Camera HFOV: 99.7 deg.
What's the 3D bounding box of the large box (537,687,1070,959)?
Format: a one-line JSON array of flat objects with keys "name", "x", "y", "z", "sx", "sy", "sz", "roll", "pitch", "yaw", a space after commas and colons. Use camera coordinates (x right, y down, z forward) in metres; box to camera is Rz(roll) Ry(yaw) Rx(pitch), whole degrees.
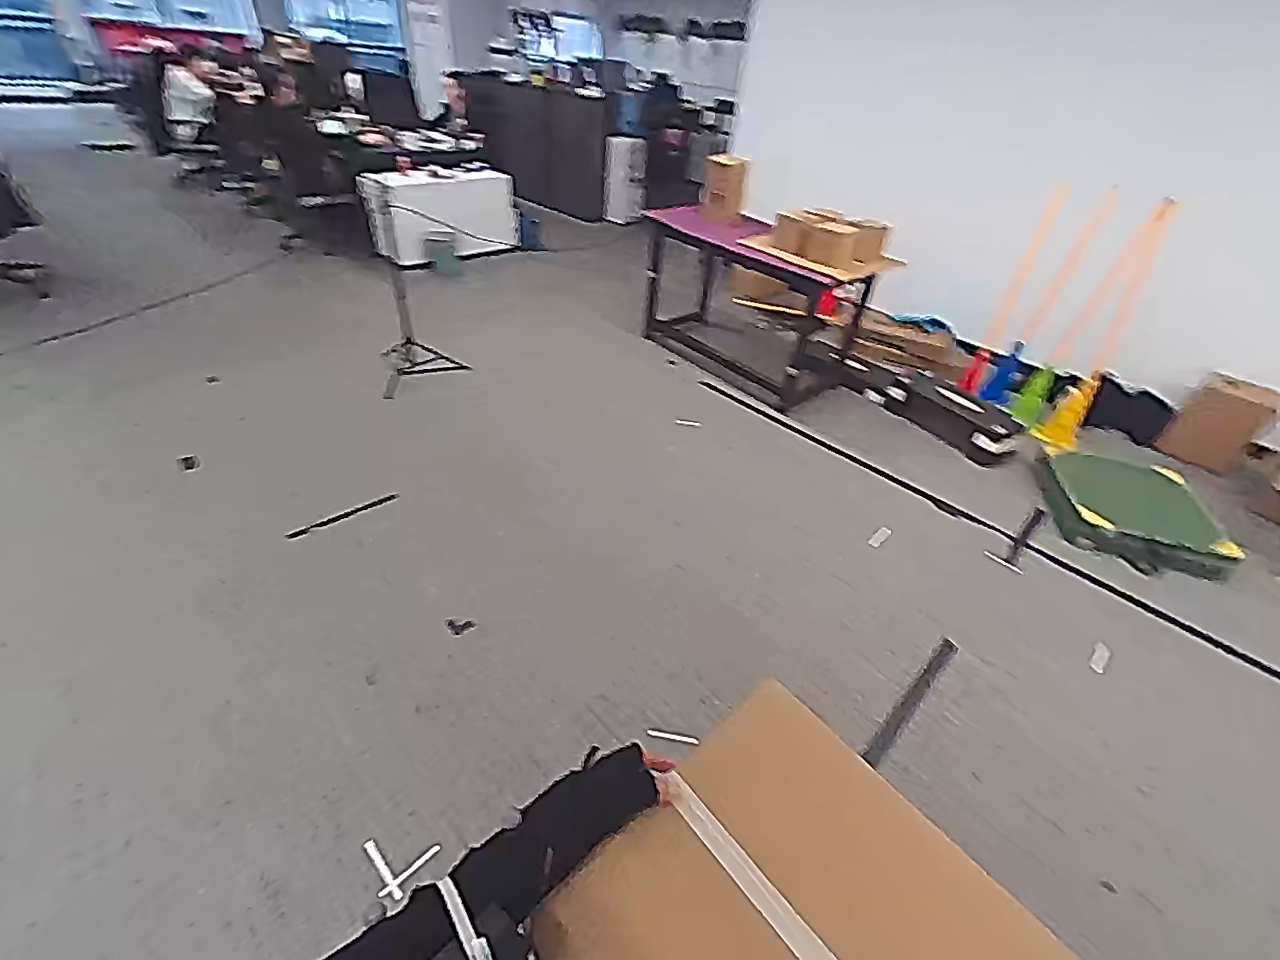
[{"name": "large box", "x": 0.145, "y": 0.496, "z": 0.506, "sx": 0.320, "sy": 0.320, "sz": 0.408, "roll": -29, "pitch": 54, "yaw": -32}]
